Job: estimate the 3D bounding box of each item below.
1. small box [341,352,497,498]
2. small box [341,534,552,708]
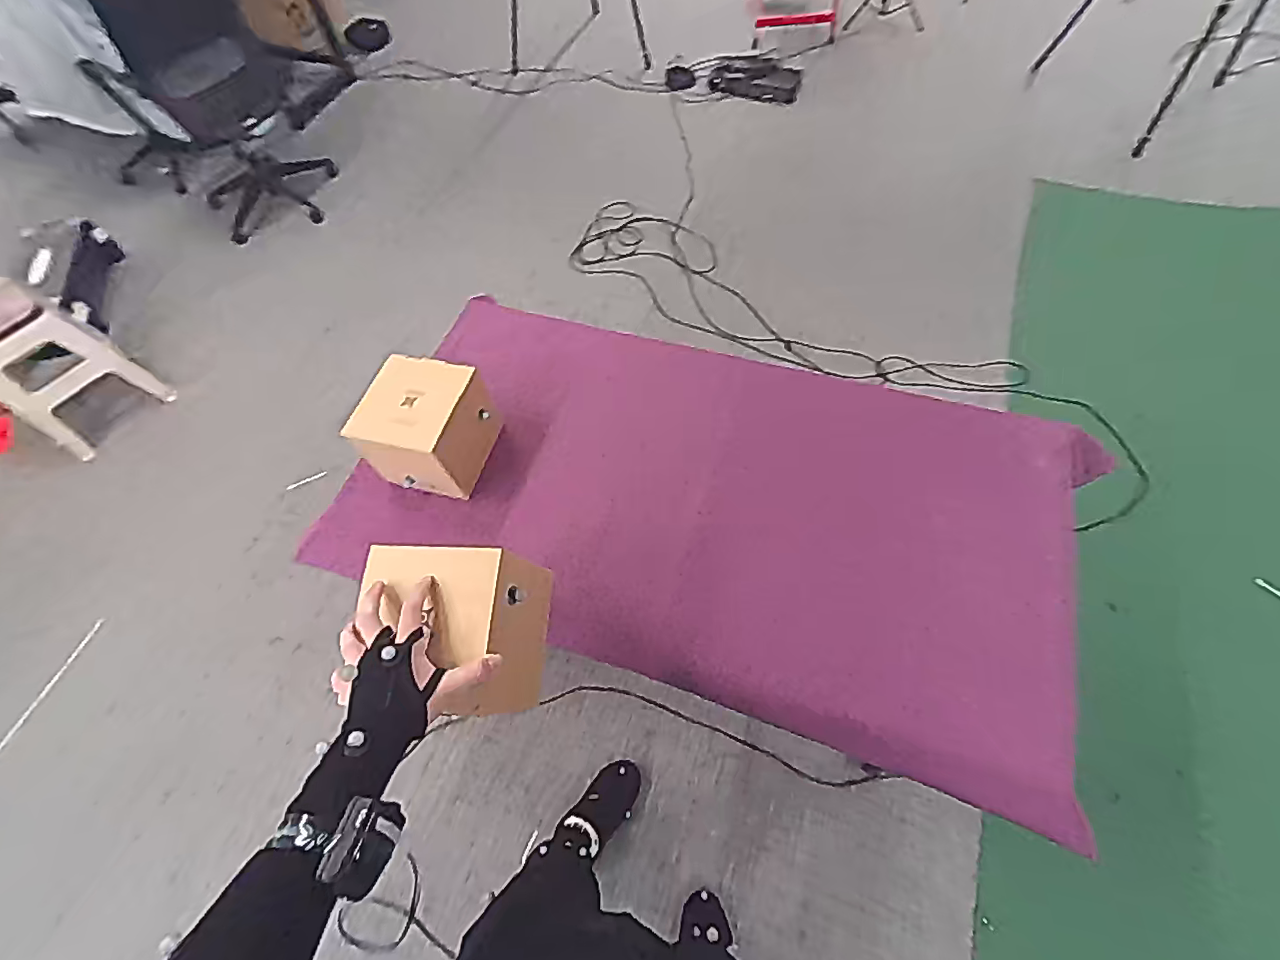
[{"bbox_3d":[-0.371,-0.093,0.952,0.168,0.176,0.179,12,63,11],"label":"small box"},{"bbox_3d":[-0.218,0.172,0.660,0.168,0.176,0.179,0,72,13],"label":"small box"}]
